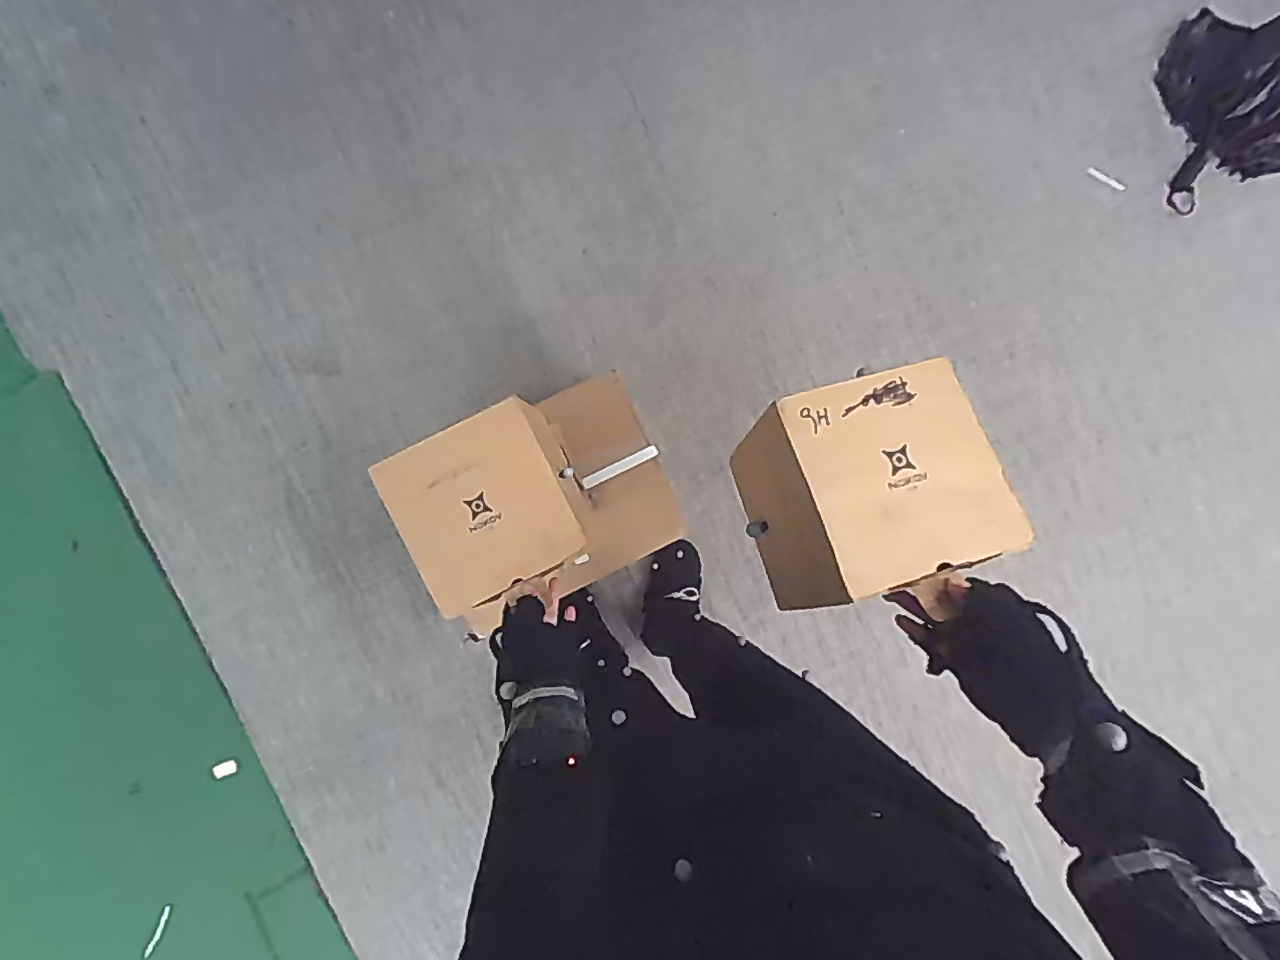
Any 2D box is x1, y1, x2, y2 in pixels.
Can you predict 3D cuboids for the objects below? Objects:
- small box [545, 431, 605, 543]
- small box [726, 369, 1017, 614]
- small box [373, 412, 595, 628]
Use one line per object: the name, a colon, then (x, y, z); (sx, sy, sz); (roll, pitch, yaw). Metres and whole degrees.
small box: (-0.169, 0.033, 0.811); (0.179, 0.176, 0.168); (-26, 100, -3)
small box: (0.201, 0.022, 0.525); (0.168, 0.176, 0.179); (-16, 77, -9)
small box: (-0.162, 0.038, 0.629); (0.168, 0.176, 0.179); (-27, 92, -1)
